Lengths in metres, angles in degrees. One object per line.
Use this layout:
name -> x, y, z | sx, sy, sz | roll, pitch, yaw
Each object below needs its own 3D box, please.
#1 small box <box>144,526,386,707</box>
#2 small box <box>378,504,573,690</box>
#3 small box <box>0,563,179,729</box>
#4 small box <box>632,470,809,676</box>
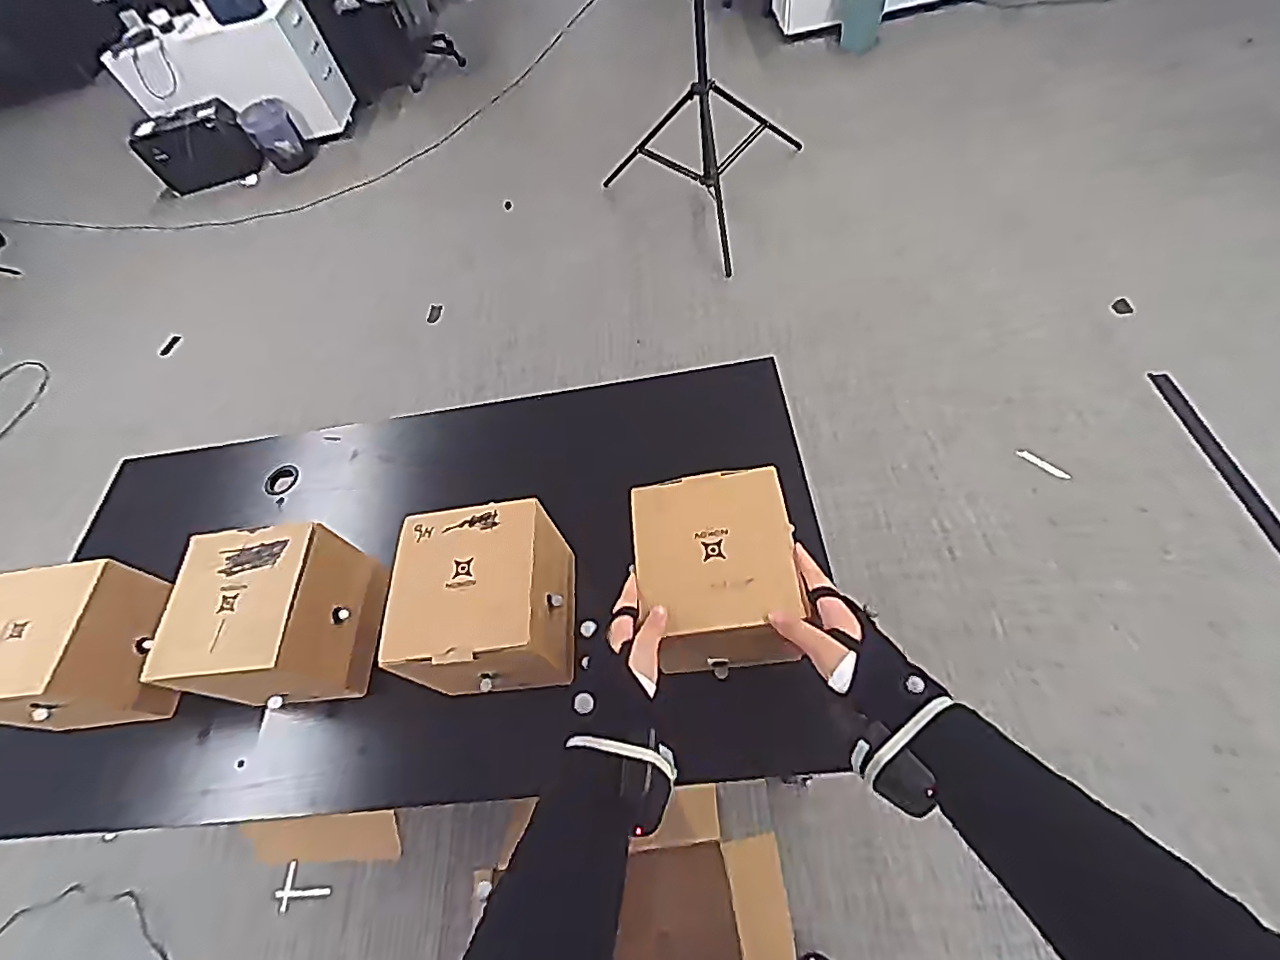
small box -> -0.455, 0.180, 0.694 | 0.168, 0.176, 0.179 | -7, 58, 7
small box -> -0.183, 0.152, 0.660 | 0.168, 0.176, 0.179 | -8, 58, 7
small box -> -0.736, 0.226, 0.717 | 0.179, 0.176, 0.168 | -8, 57, 5
small box -> 0.089, 0.114, 0.631 | 0.168, 0.176, 0.179 | -9, 58, 7
